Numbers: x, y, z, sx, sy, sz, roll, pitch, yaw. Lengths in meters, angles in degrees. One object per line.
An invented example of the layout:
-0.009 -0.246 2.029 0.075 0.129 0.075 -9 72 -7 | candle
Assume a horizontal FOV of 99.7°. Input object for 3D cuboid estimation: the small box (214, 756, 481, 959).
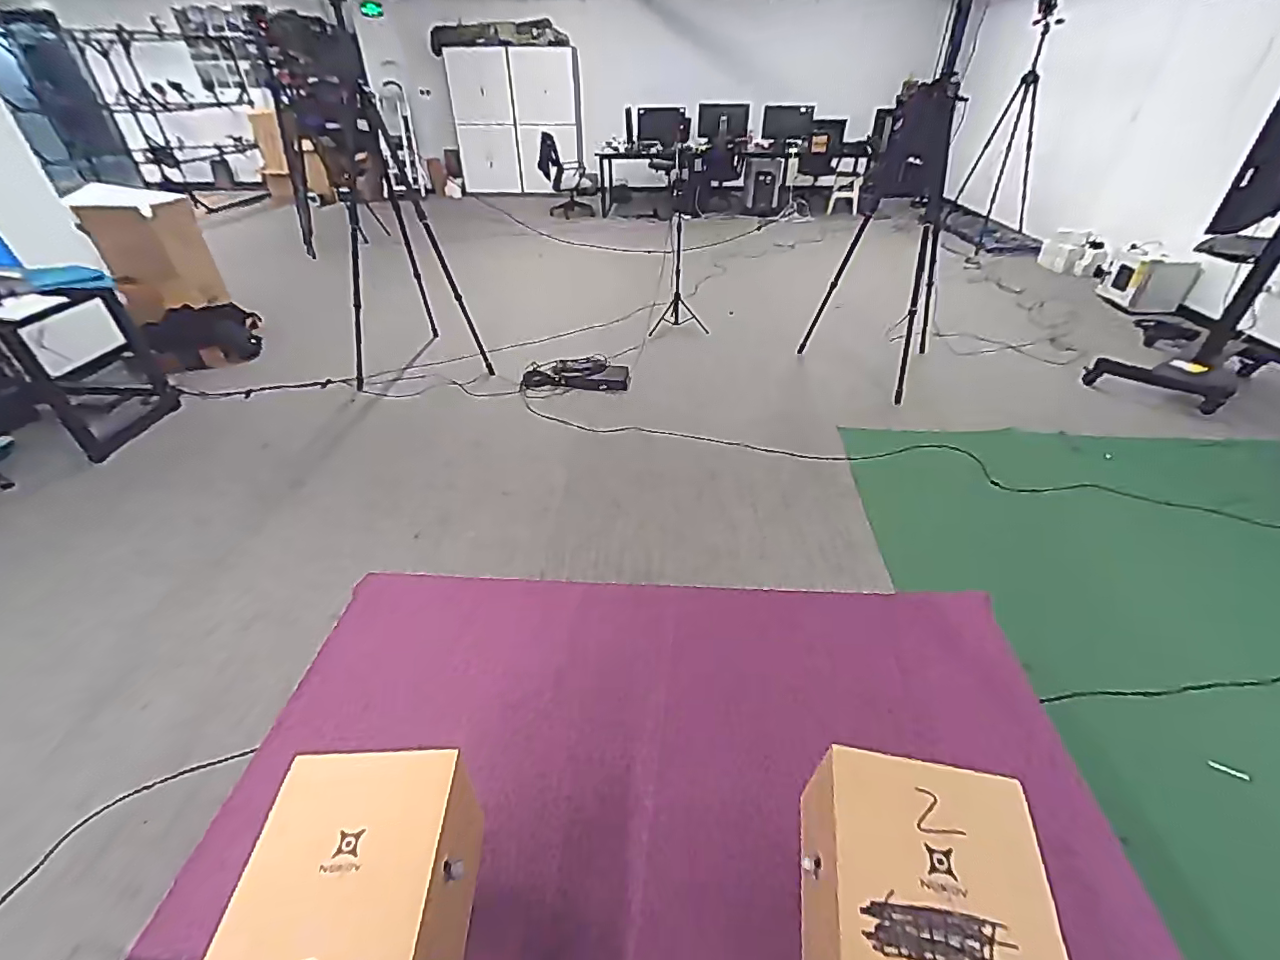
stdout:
-0.266 0.407 0.544 0.168 0.176 0.179 -1 38 -2 | small box
